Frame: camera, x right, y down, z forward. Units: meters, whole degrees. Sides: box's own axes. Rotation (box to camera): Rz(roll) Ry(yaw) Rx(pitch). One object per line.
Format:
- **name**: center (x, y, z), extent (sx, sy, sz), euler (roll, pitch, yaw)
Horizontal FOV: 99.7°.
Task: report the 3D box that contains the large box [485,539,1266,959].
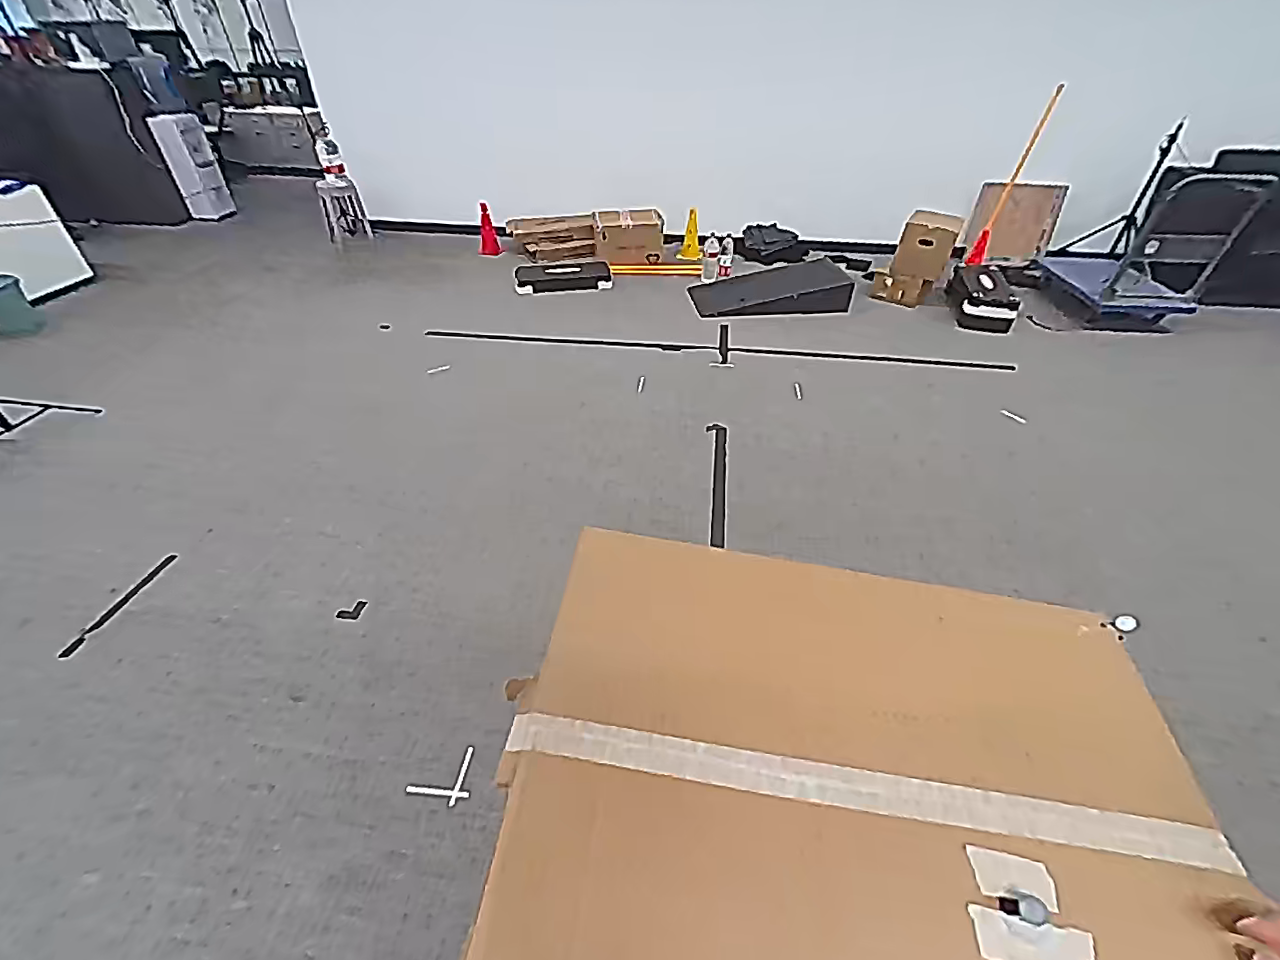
- **large box**: center (0.118, 0.286, 0.426), extent (0.408, 0.320, 0.320), euler (10, 47, 1)
